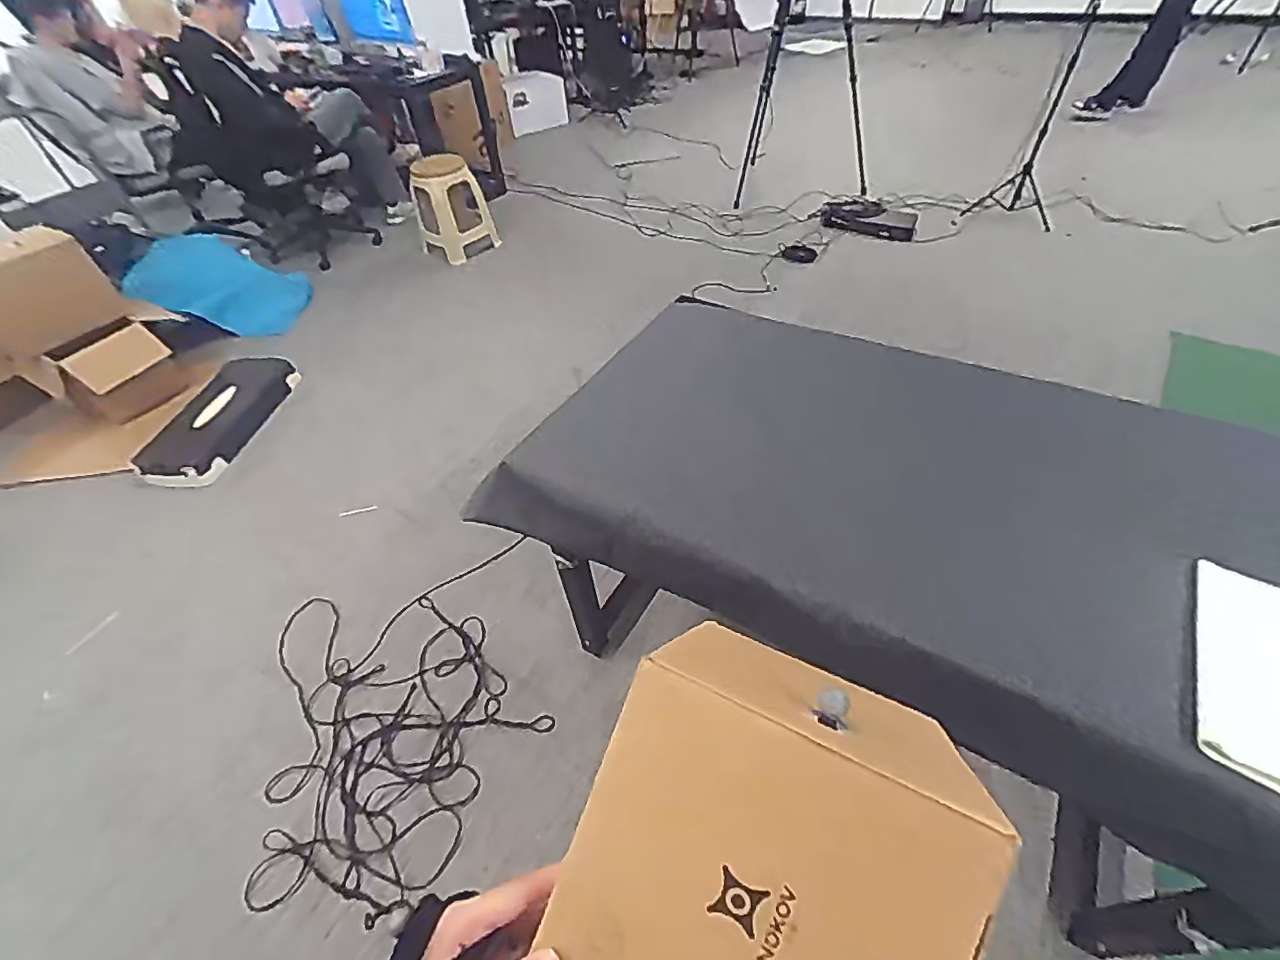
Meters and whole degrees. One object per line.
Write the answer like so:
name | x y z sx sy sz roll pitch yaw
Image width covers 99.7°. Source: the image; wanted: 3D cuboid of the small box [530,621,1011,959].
small box | 0.072 0.195 0.324 0.179 0.176 0.168 20 88 18
